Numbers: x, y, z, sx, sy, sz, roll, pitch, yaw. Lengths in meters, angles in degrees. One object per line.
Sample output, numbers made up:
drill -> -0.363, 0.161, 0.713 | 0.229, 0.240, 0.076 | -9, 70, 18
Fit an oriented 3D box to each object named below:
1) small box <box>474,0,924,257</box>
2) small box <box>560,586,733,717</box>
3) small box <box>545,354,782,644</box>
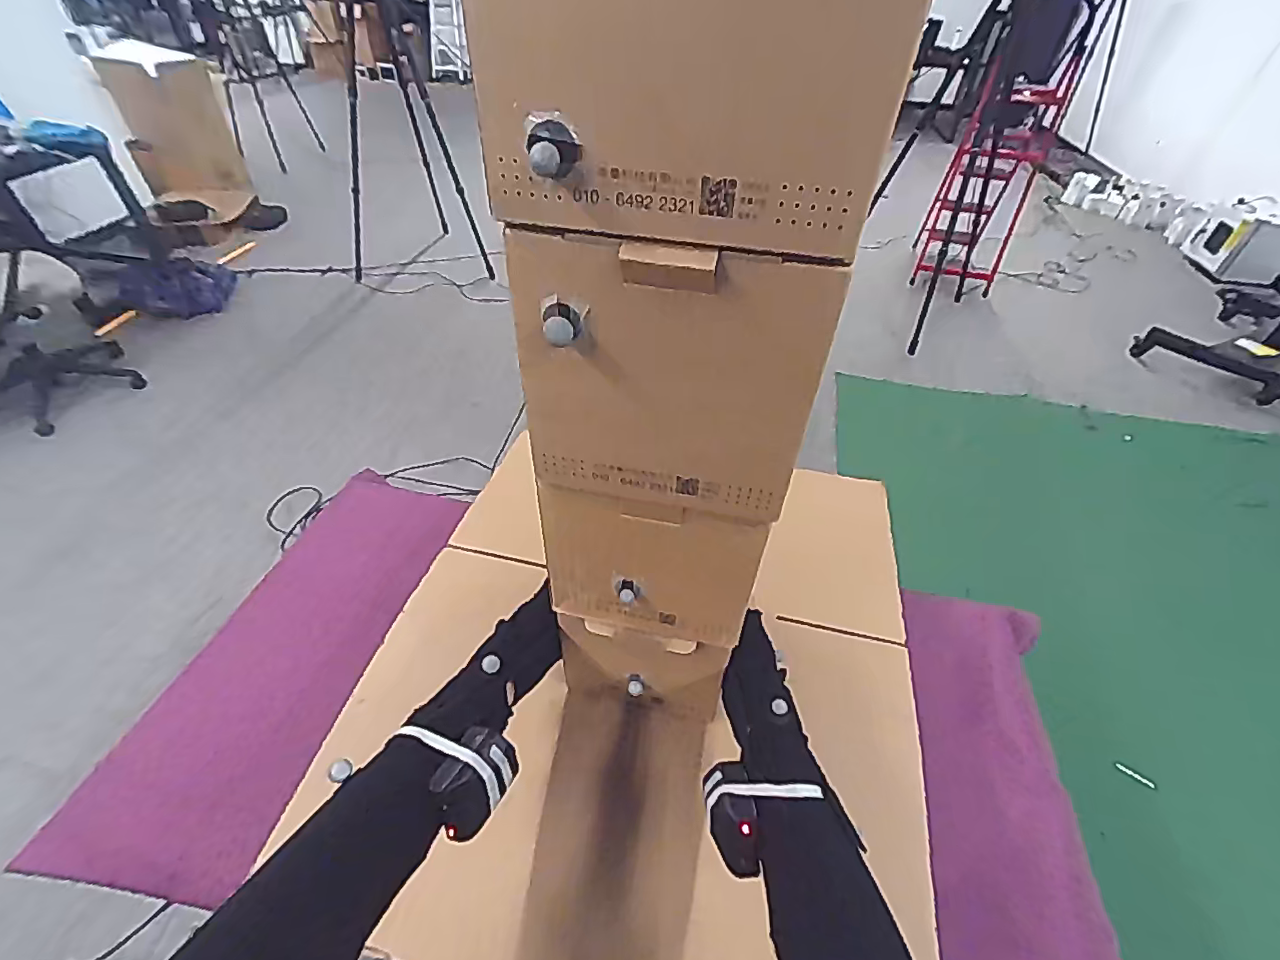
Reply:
small box -> 0.033, -0.219, 0.249 | 0.168, 0.176, 0.179 | 10, 43, 7
small box -> 0.021, 0.127, 0.599 | 0.168, 0.176, 0.179 | 11, 44, 9
small box -> 0.025, 0.015, 0.482 | 0.168, 0.176, 0.179 | 10, 44, 7
